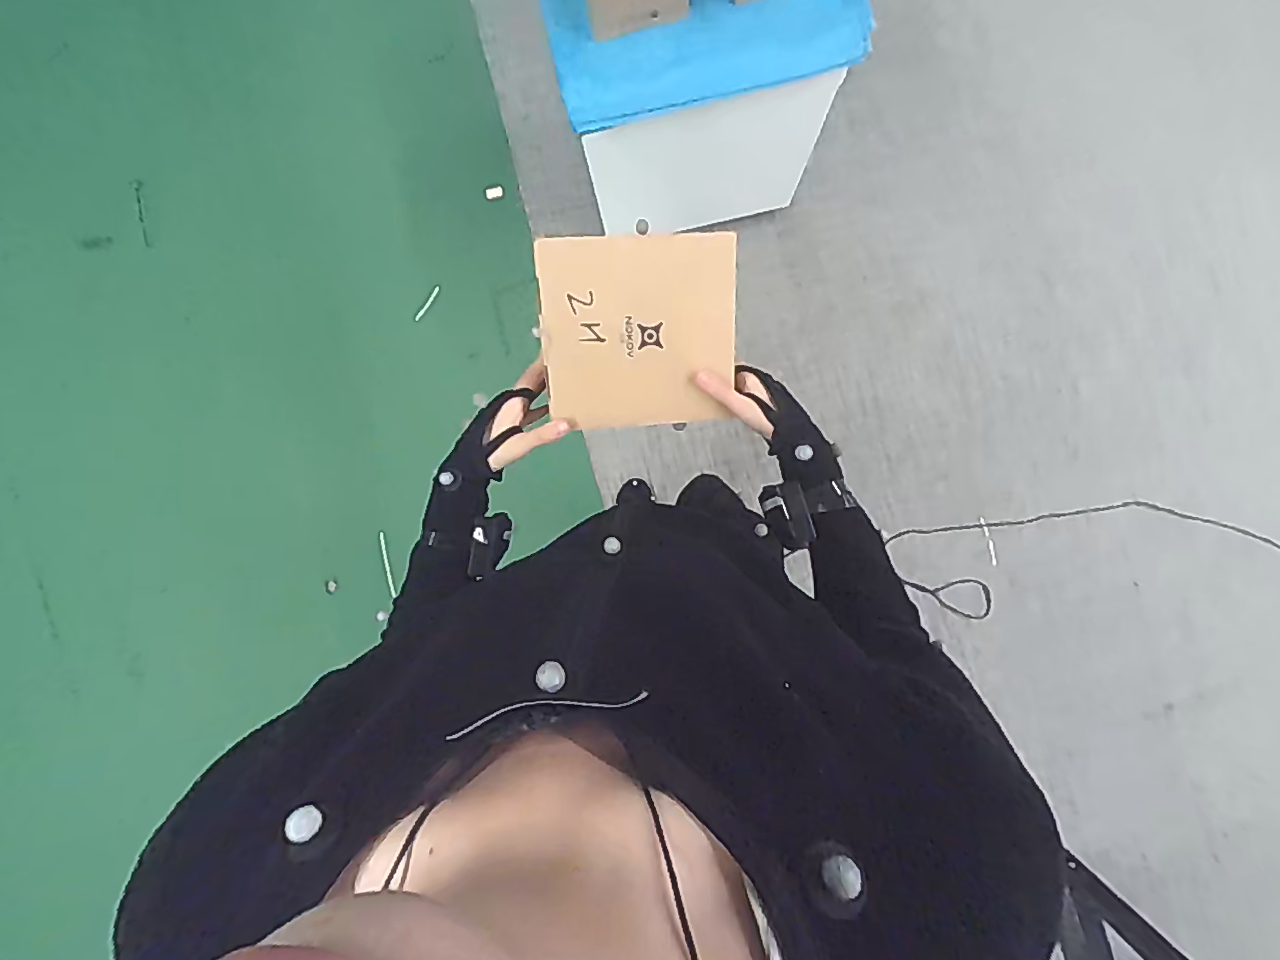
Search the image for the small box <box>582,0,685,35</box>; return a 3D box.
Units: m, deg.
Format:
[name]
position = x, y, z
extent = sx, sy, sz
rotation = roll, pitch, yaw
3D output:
[small box]
position = -0.022, -0.855, 0.855
extent = 0.168, 0.176, 0.179
rotation = -13, 87, 1
